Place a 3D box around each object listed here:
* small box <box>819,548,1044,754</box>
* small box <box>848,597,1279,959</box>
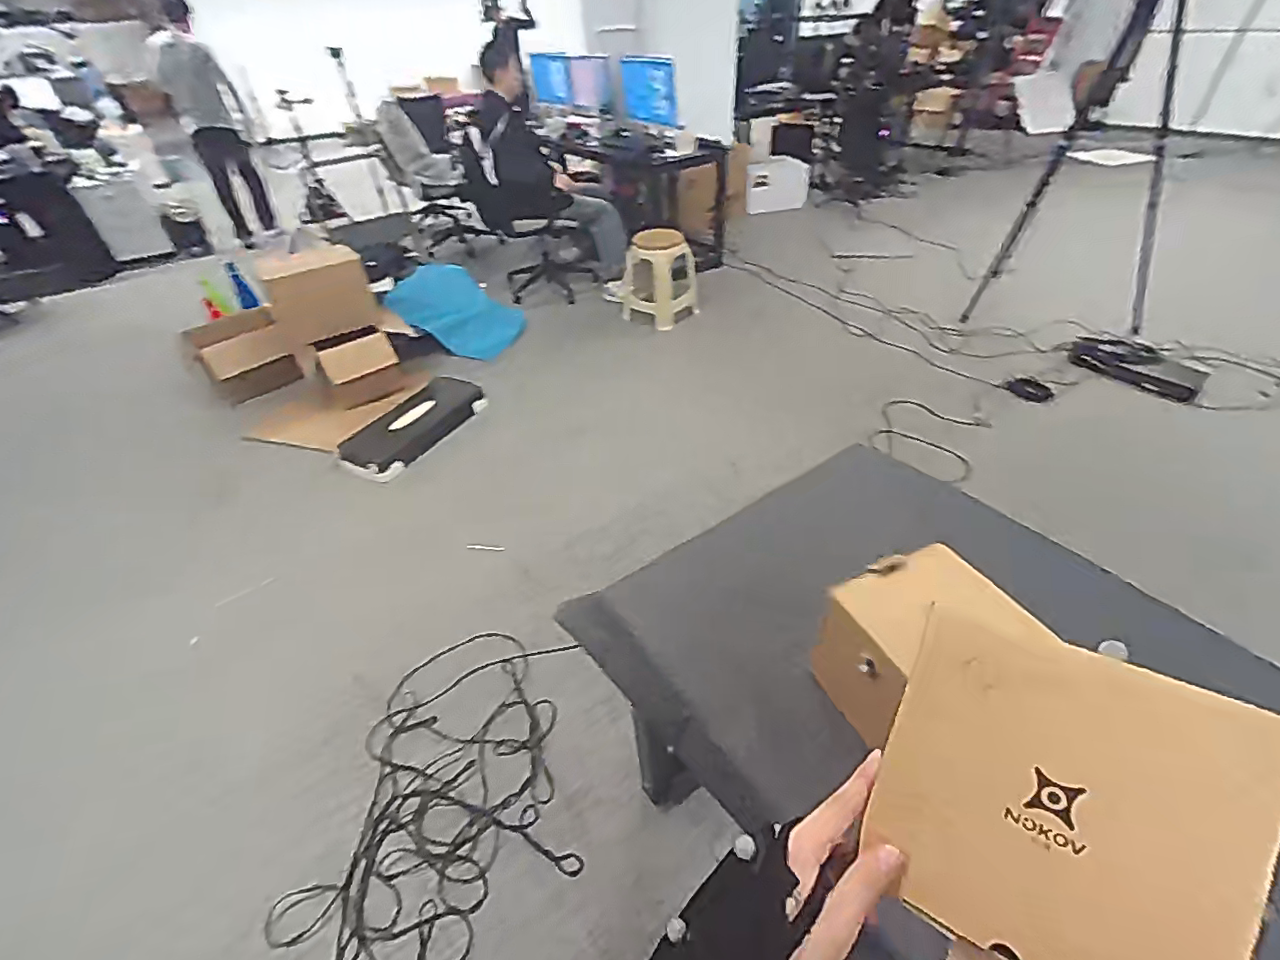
[{"bbox_3d":[0.328,0.214,0.618,0.168,0.176,0.179,-18,43,-14],"label":"small box"},{"bbox_3d":[0.253,0.190,0.357,0.168,0.176,0.179,17,86,31],"label":"small box"}]
